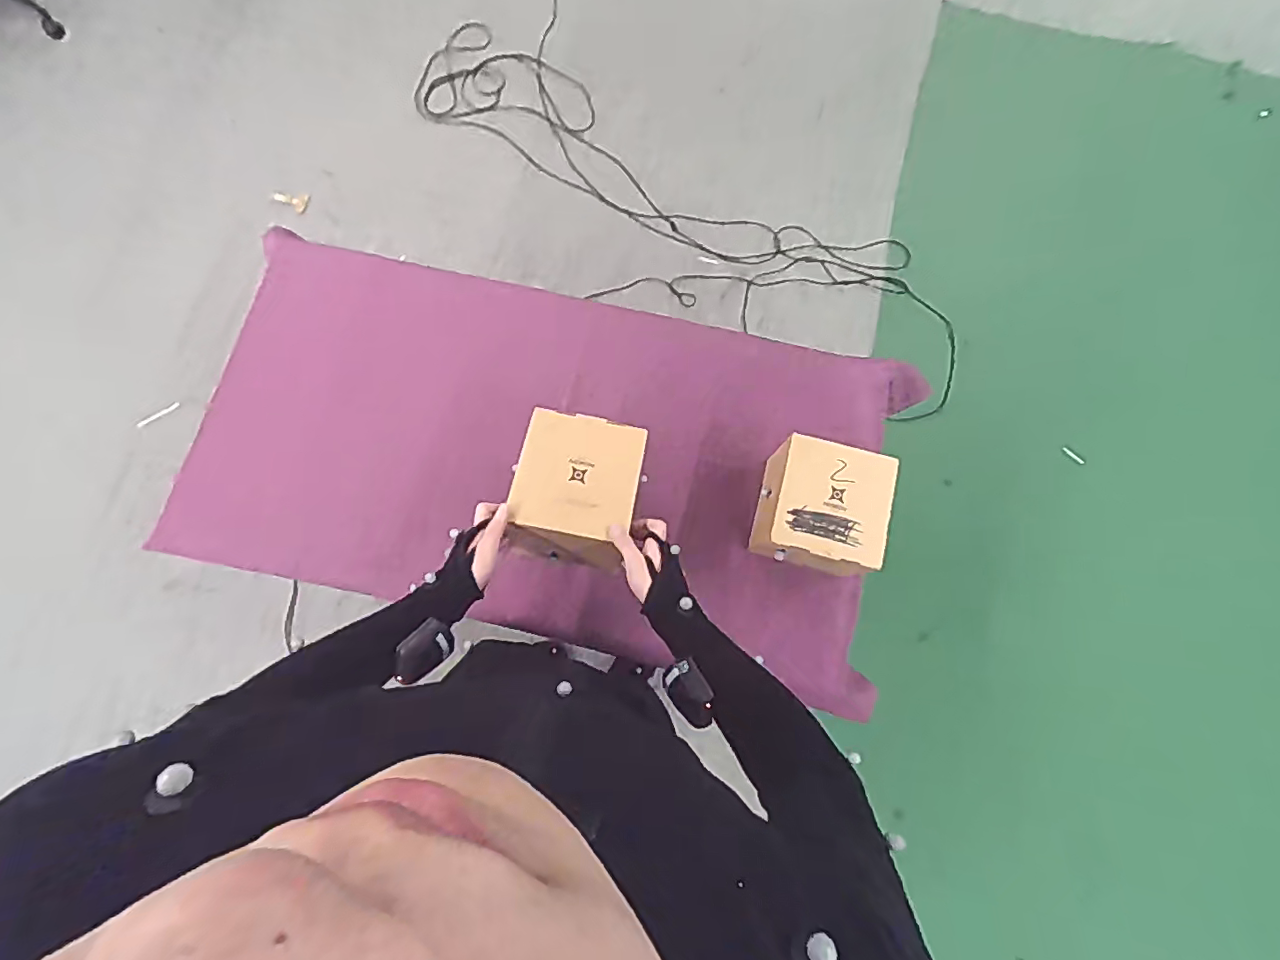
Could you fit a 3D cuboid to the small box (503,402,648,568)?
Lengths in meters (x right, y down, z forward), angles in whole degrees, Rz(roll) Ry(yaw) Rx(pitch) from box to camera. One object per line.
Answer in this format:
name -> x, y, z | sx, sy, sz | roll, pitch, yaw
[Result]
small box -> -0.093, 0.015, 0.799 | 0.168, 0.176, 0.179 | 12, 67, -3
